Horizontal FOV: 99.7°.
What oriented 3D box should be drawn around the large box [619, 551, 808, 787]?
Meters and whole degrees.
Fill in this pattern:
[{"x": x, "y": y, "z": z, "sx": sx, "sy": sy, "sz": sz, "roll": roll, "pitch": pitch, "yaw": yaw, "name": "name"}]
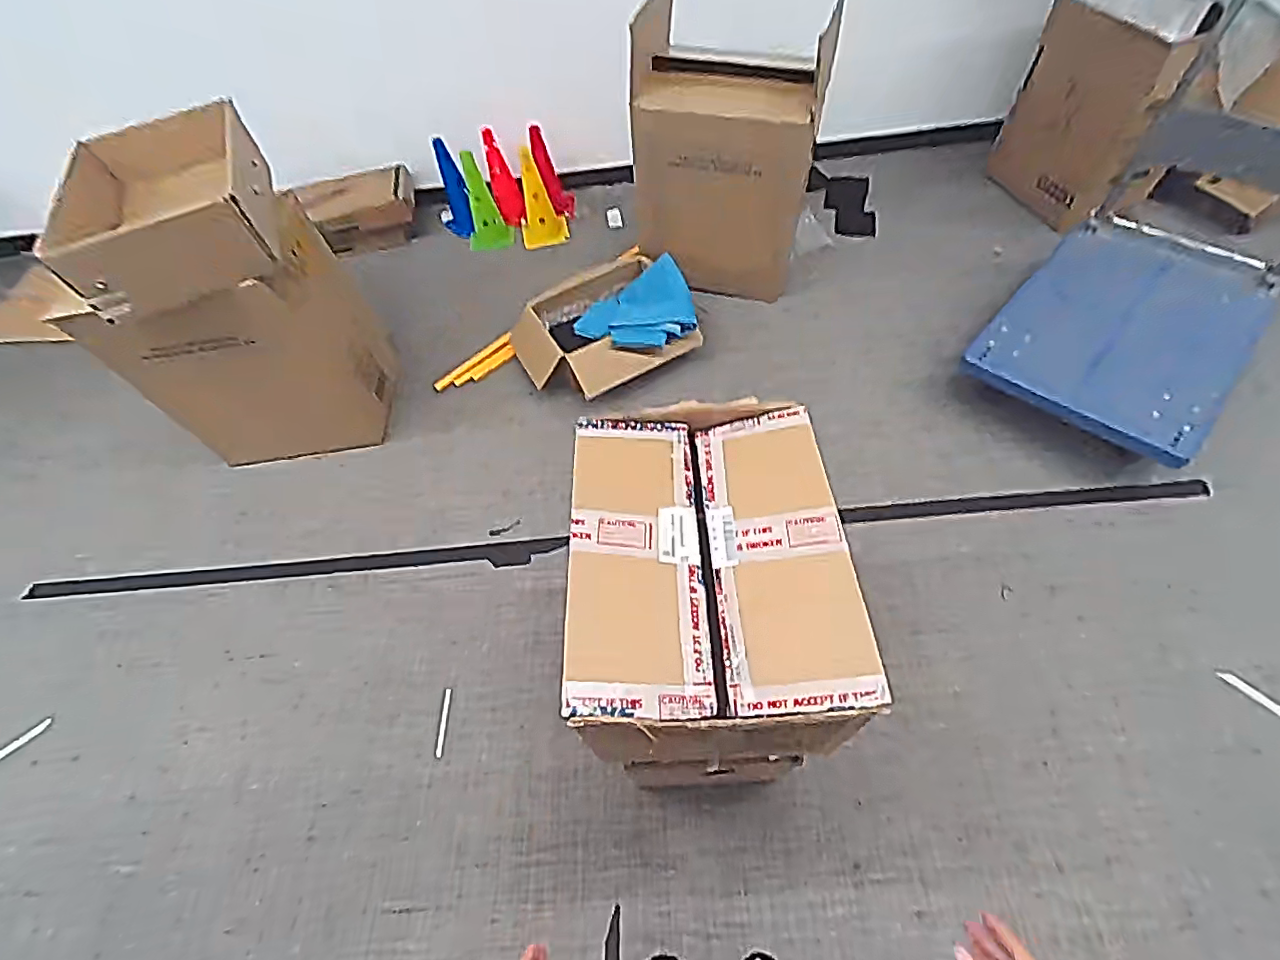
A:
[{"x": 0.133, "y": 0.408, "z": 1.158, "sx": 0.320, "sy": 0.320, "sz": 0.408, "roll": -6, "pitch": 56, "yaw": 2, "name": "large box"}]
